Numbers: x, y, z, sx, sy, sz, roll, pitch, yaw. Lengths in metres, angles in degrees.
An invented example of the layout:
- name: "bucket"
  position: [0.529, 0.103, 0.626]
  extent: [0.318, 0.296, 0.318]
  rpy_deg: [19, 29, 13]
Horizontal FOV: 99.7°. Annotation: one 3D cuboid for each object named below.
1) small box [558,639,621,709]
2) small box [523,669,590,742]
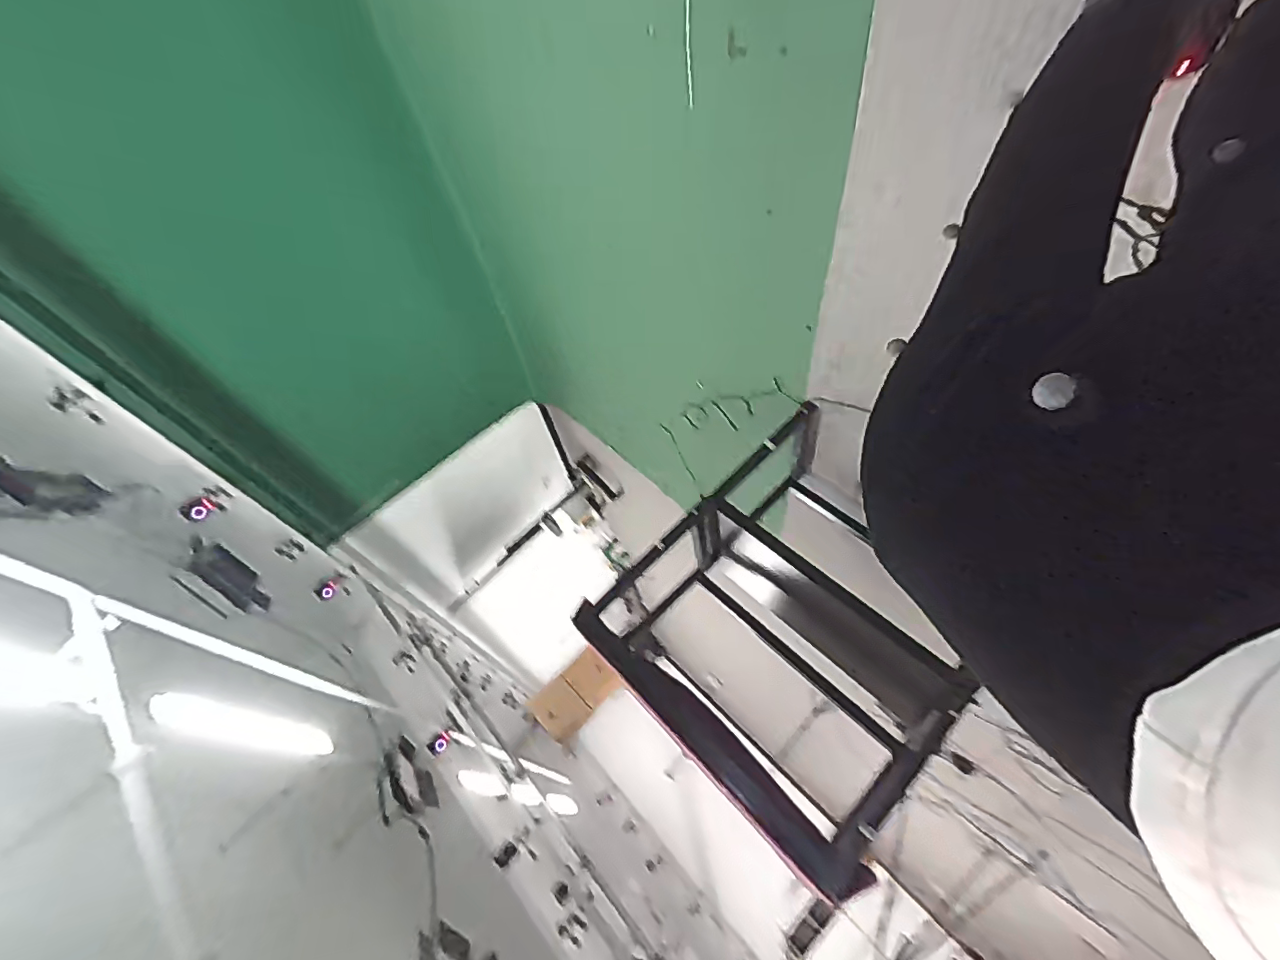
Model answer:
- name: "small box"
  position: [-0.191, 0.756, 2.114]
  extent: [0.168, 0.176, 0.179]
  rpy_deg: [39, 159, 29]
- name: "small box"
  position: [-0.307, 0.857, 2.054]
  extent: [0.179, 0.176, 0.168]
  rpy_deg: [39, 158, 29]
